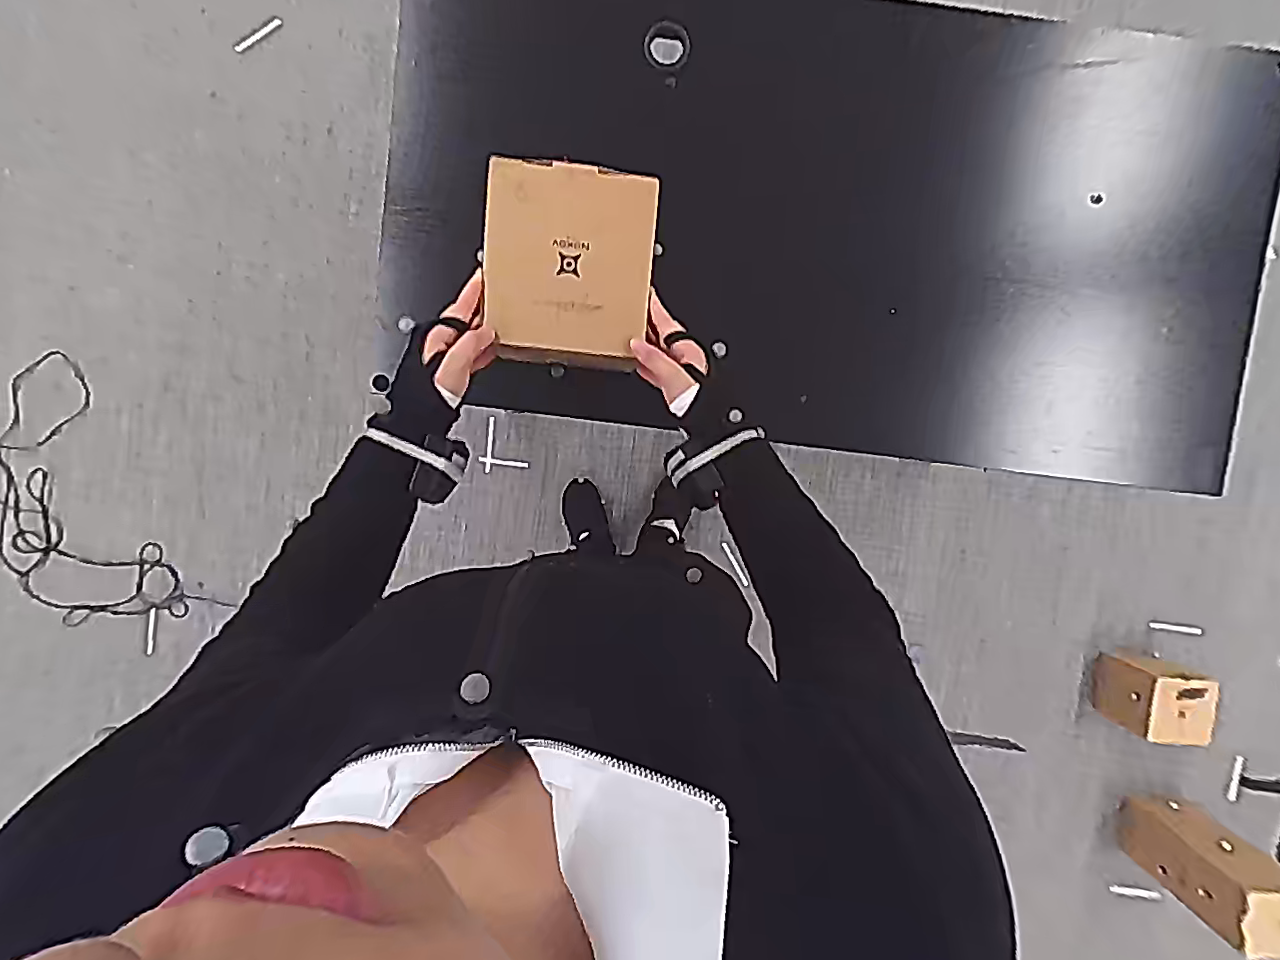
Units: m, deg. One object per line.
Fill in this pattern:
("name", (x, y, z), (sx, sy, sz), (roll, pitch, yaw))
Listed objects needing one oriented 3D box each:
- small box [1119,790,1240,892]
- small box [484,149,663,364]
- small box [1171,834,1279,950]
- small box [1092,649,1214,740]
("small box", (1.490, 1.003, 1.505), (0.168, 0.176, 0.179), (1, 95, -1))
("small box", (-0.073, -0.233, 0.609), (0.168, 0.176, 0.179), (4, 98, -5))
("small box", (1.484, 1.013, 1.341), (0.179, 0.176, 0.168), (0, 95, 0))
("small box", (1.382, 0.575, 1.468), (0.168, 0.176, 0.179), (4, 95, -1))
